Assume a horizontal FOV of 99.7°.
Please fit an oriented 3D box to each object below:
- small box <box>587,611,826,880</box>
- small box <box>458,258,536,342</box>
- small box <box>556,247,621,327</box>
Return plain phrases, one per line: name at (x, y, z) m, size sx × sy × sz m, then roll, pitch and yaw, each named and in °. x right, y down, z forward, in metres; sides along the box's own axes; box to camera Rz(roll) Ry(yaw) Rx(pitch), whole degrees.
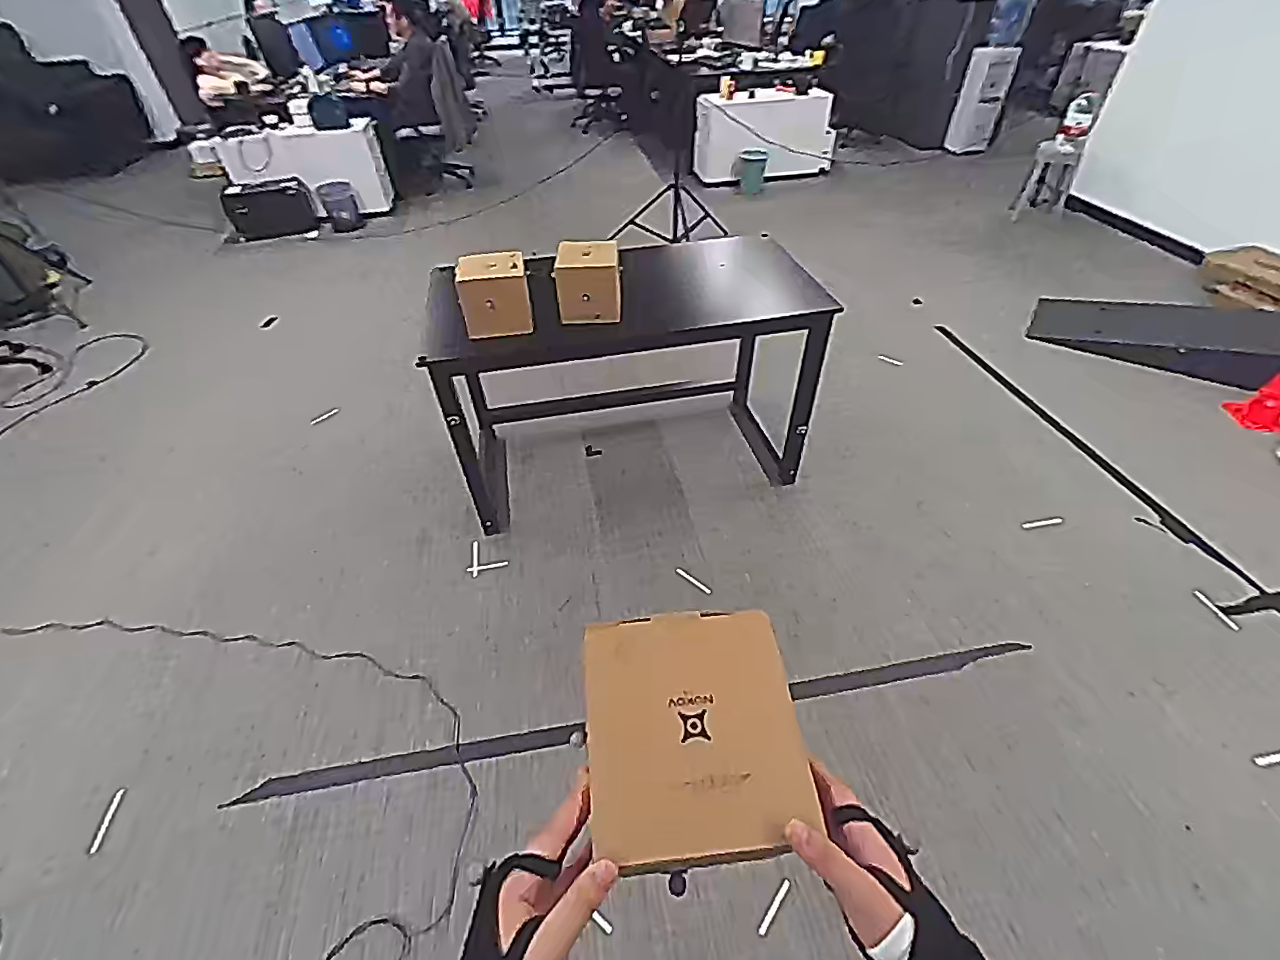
small box at (0.038, 0.238, 0.485) m, size 0.168 × 0.176 × 0.179 m, roll -4°, pitch 52°, yaw -6°
small box at (-0.396, -0.502, 1.518) m, size 0.179 × 0.176 × 0.168 m, roll -9°, pitch 44°, yaw -6°
small box at (-0.141, -0.554, 1.560) m, size 0.168 × 0.176 × 0.179 m, roll -1°, pitch 43°, yaw 0°
